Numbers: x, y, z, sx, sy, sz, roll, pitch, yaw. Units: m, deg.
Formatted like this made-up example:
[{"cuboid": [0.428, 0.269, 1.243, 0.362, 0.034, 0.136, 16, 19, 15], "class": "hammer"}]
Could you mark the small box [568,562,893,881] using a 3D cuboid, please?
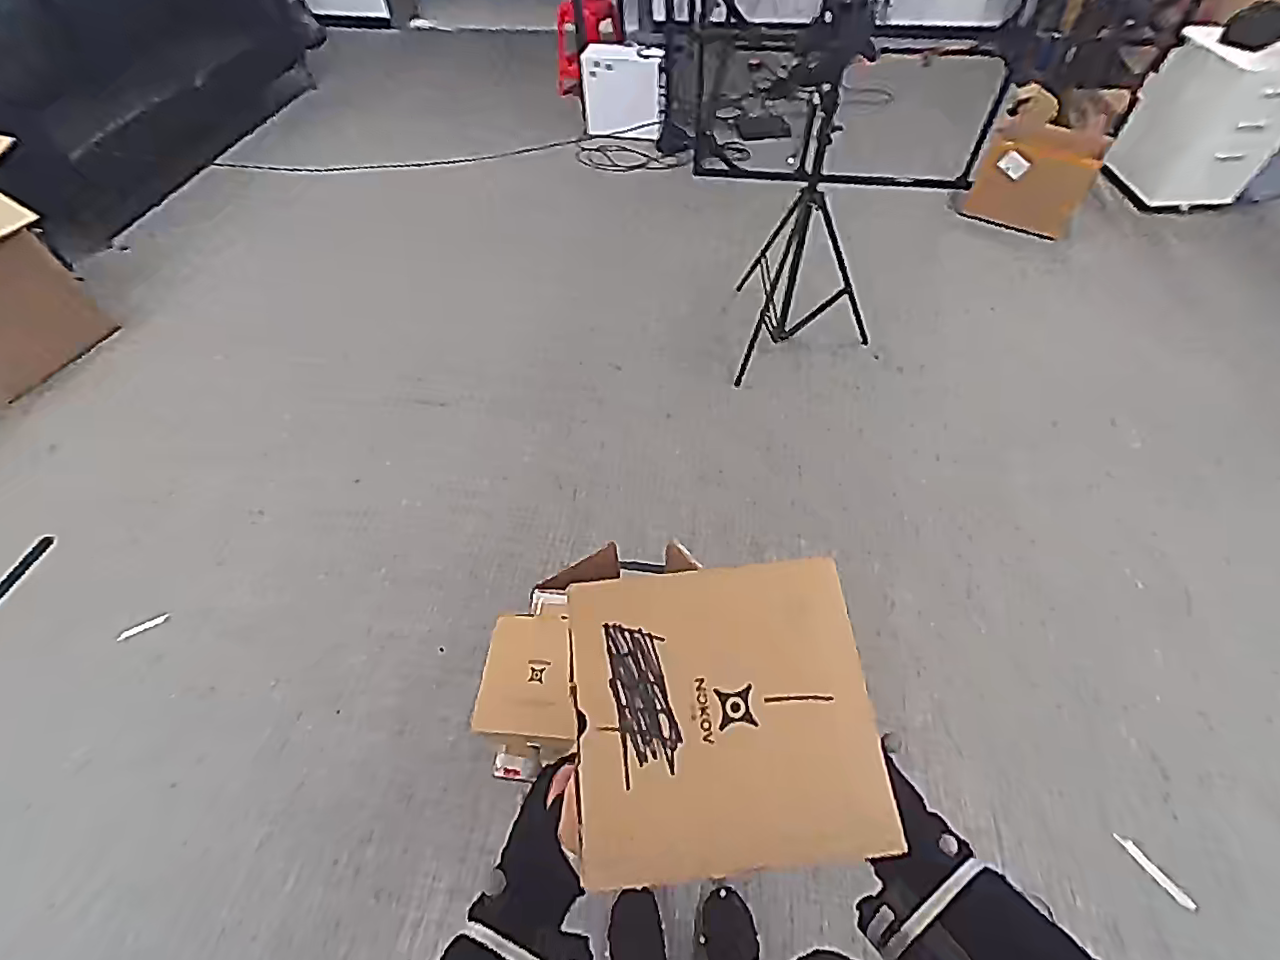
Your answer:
[{"cuboid": [0.050, 0.169, 0.401, 0.179, 0.176, 0.168, -7, 68, -1], "class": "small box"}]

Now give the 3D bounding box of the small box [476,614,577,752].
[{"cuboid": [-0.147, 0.337, 0.889, 0.168, 0.176, 0.179, 2, 59, 6], "class": "small box"}]
